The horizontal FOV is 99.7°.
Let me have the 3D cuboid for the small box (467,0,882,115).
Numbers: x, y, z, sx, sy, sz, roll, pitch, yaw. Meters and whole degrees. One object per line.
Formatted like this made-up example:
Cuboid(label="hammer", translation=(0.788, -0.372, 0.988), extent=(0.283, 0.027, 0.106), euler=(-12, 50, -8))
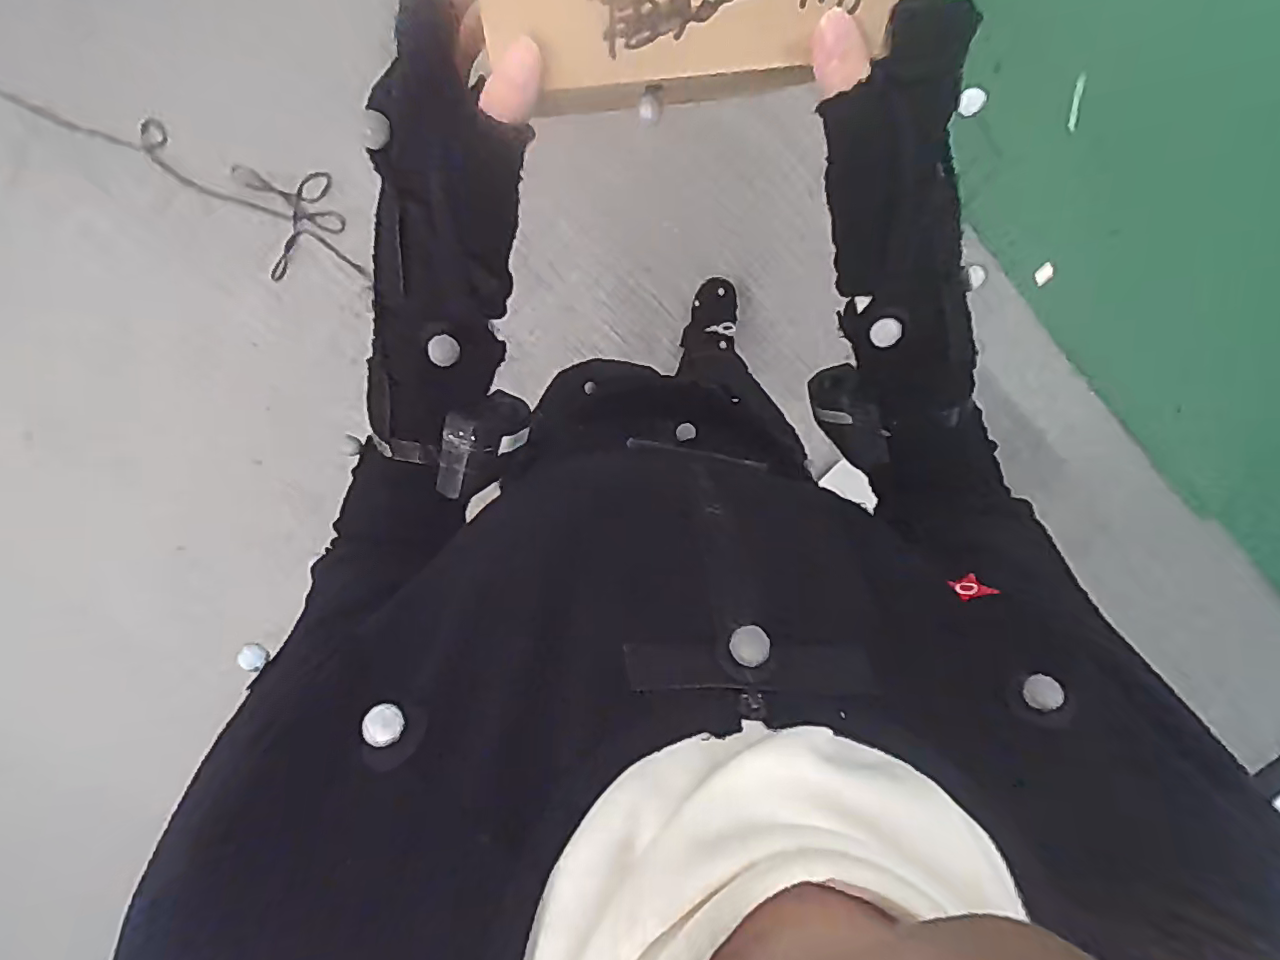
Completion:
Cuboid(label="small box", translation=(0.002, -0.285, 0.246), extent=(0.168, 0.176, 0.179), euler=(-7, 121, -1))
